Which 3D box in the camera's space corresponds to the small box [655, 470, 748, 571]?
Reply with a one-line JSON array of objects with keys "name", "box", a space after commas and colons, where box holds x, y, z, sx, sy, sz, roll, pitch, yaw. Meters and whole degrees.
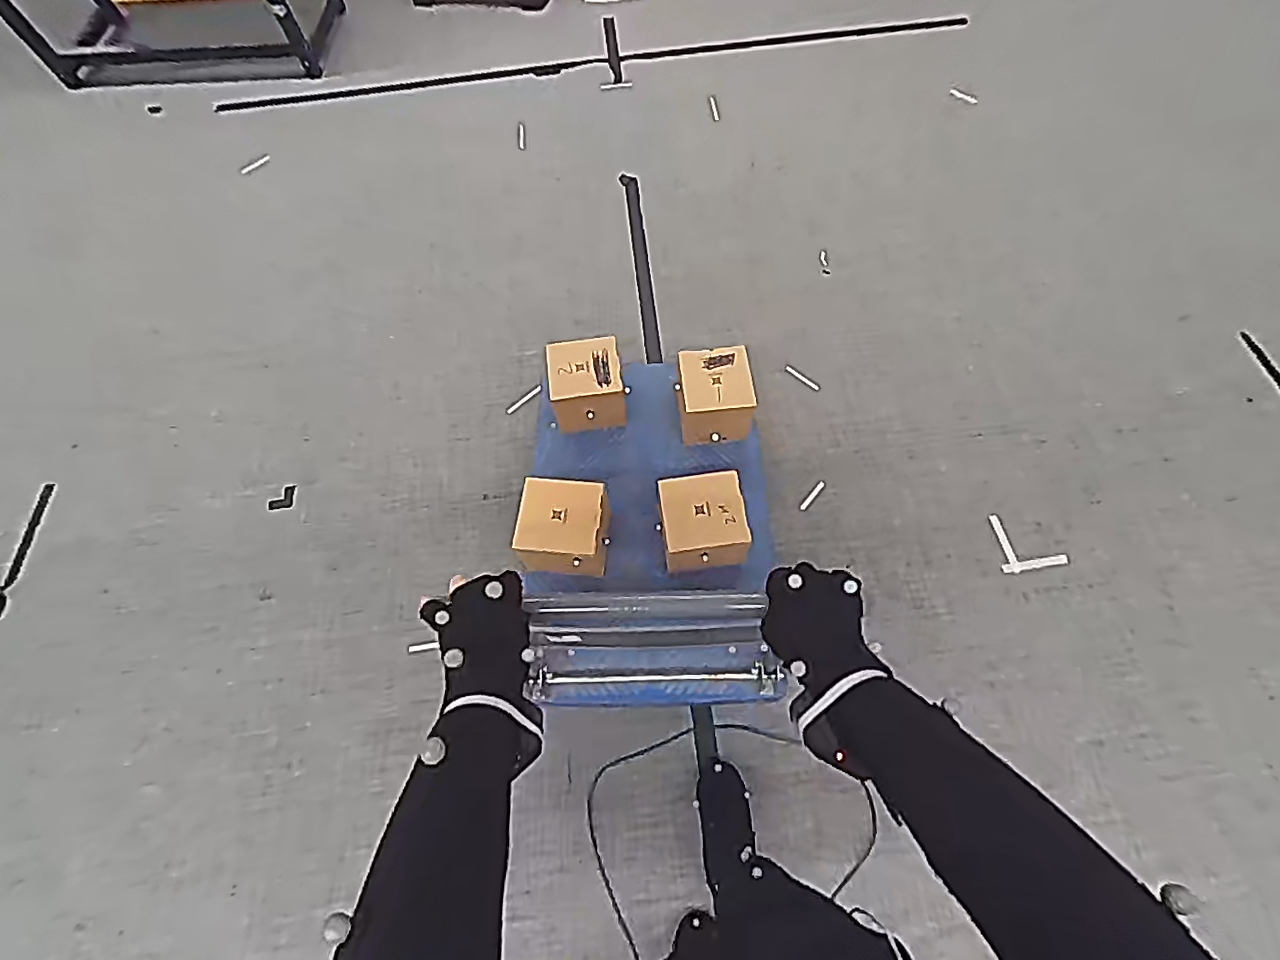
[{"name": "small box", "box": [0.132, 0.095, 1.202, 0.179, 0.176, 0.168, -7, 65, -1]}]

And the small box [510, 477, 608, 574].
[{"name": "small box", "box": [-0.173, 0.107, 1.212, 0.179, 0.176, 0.168, 4, 65, 3]}]

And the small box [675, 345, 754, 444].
[{"name": "small box", "box": [0.177, -0.209, 1.341, 0.168, 0.176, 0.179, -5, 66, 0]}]
